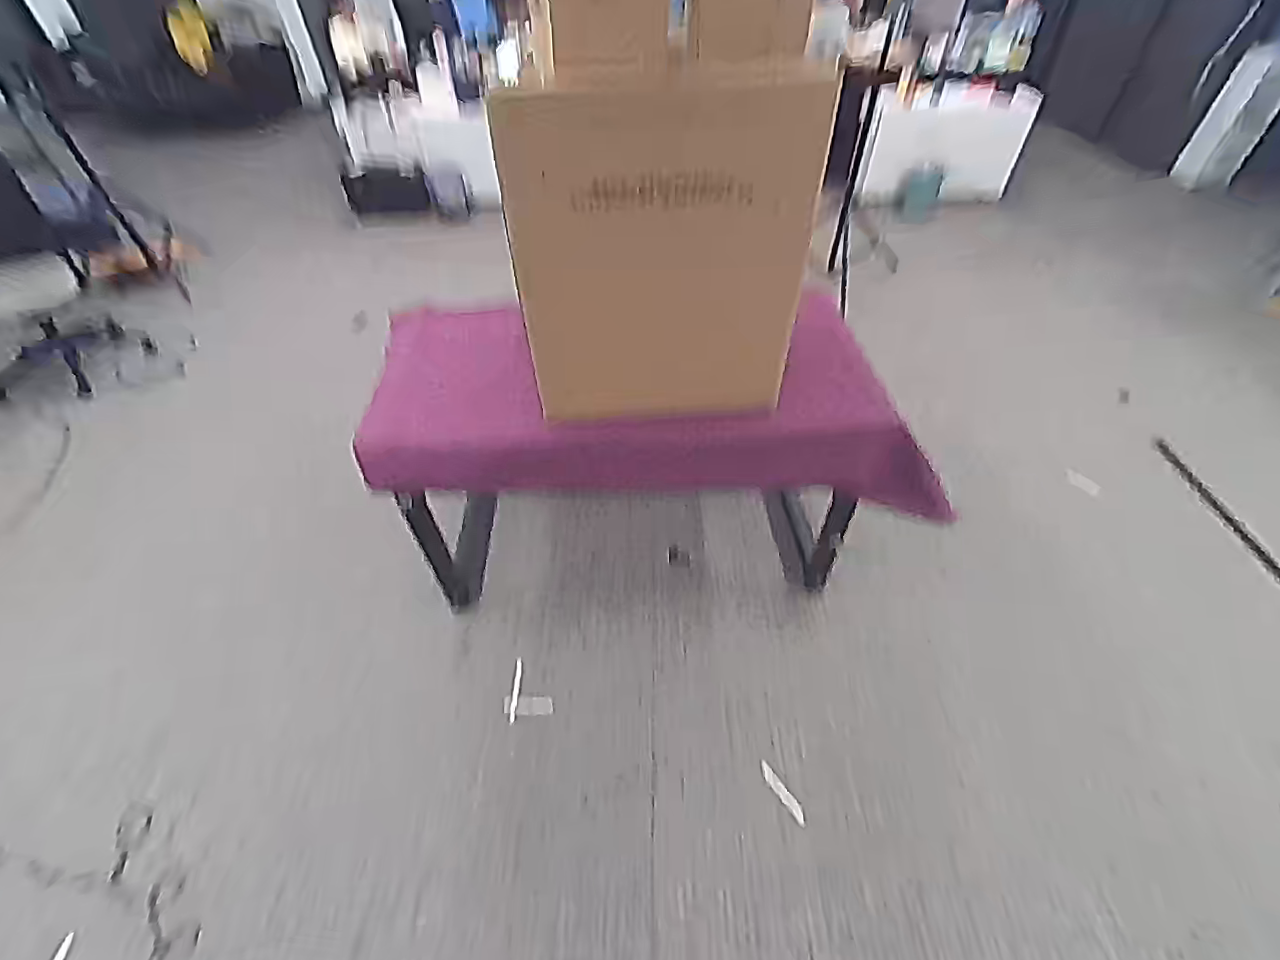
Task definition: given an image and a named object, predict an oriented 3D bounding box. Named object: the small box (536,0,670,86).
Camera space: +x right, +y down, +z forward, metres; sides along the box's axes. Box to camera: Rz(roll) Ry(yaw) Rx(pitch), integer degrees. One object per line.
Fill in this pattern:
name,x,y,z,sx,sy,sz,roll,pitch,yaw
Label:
small box,-0.058,-0.706,0.806,0.179,0.176,0.168,-13,48,-12
